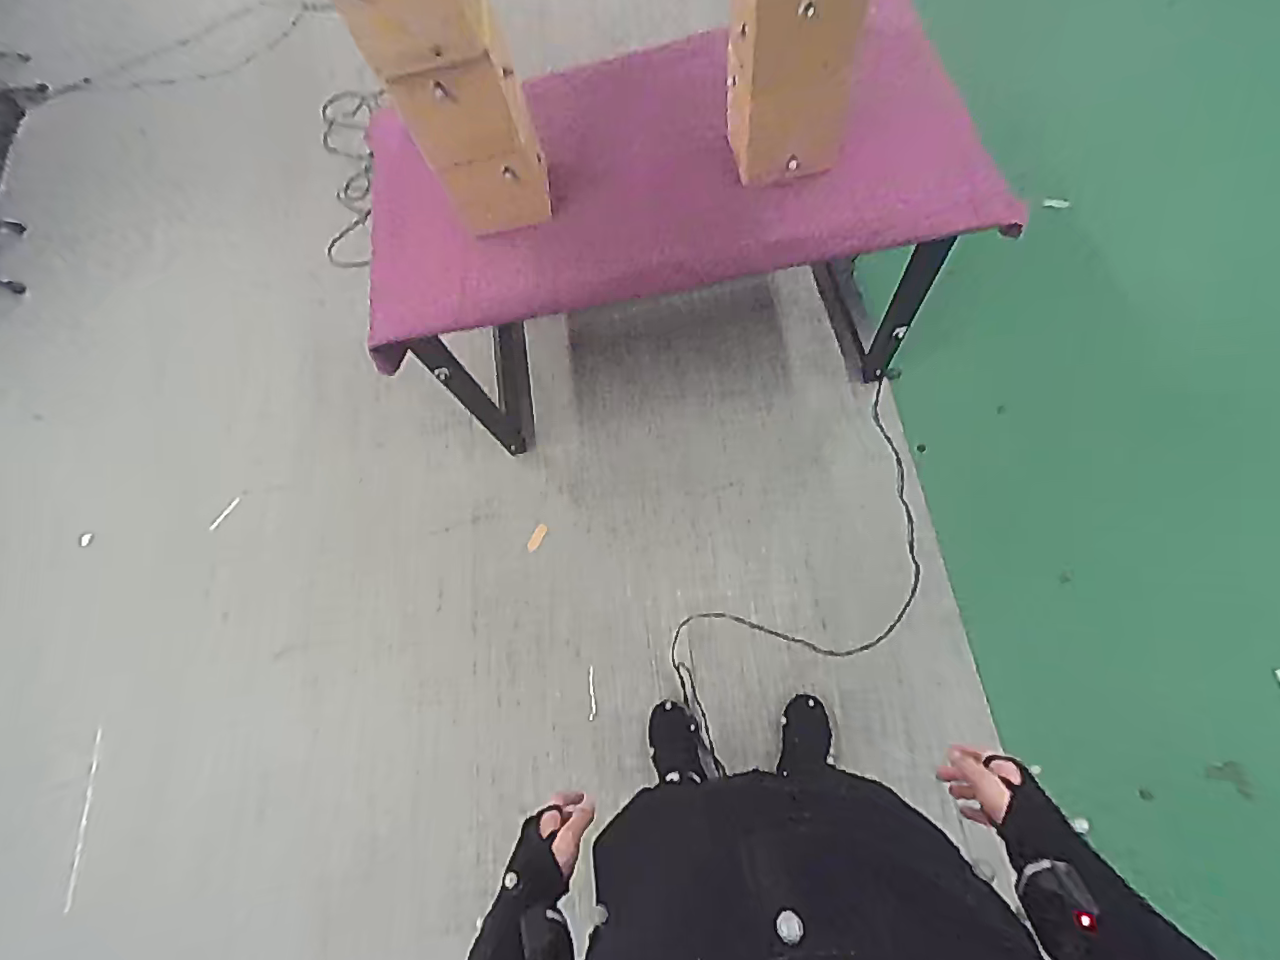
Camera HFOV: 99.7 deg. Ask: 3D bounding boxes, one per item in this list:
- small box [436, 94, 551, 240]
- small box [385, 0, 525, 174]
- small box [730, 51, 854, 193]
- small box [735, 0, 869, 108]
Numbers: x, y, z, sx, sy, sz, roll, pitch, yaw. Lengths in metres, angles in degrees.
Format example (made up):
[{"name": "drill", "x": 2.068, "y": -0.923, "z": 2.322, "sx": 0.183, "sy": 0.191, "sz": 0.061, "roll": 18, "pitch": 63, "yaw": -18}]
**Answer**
[{"name": "small box", "x": -0.278, "y": -0.604, "z": 1.060, "sx": 0.179, "sy": 0.176, "sz": 0.168, "roll": -9, "pitch": 69, "yaw": 5}, {"name": "small box", "x": -0.299, "y": -0.655, "z": 0.908, "sx": 0.179, "sy": 0.176, "sz": 0.168, "roll": -10, "pitch": 70, "yaw": 5}, {"name": "small box", "x": 0.270, "y": -0.673, "z": 1.002, "sx": 0.179, "sy": 0.176, "sz": 0.168, "roll": -11, "pitch": 69, "yaw": 4}, {"name": "small box", "x": 0.247, "y": -0.729, "z": 0.850, "sx": 0.179, "sy": 0.176, "sz": 0.168, "roll": -10, "pitch": 70, "yaw": 5}]
